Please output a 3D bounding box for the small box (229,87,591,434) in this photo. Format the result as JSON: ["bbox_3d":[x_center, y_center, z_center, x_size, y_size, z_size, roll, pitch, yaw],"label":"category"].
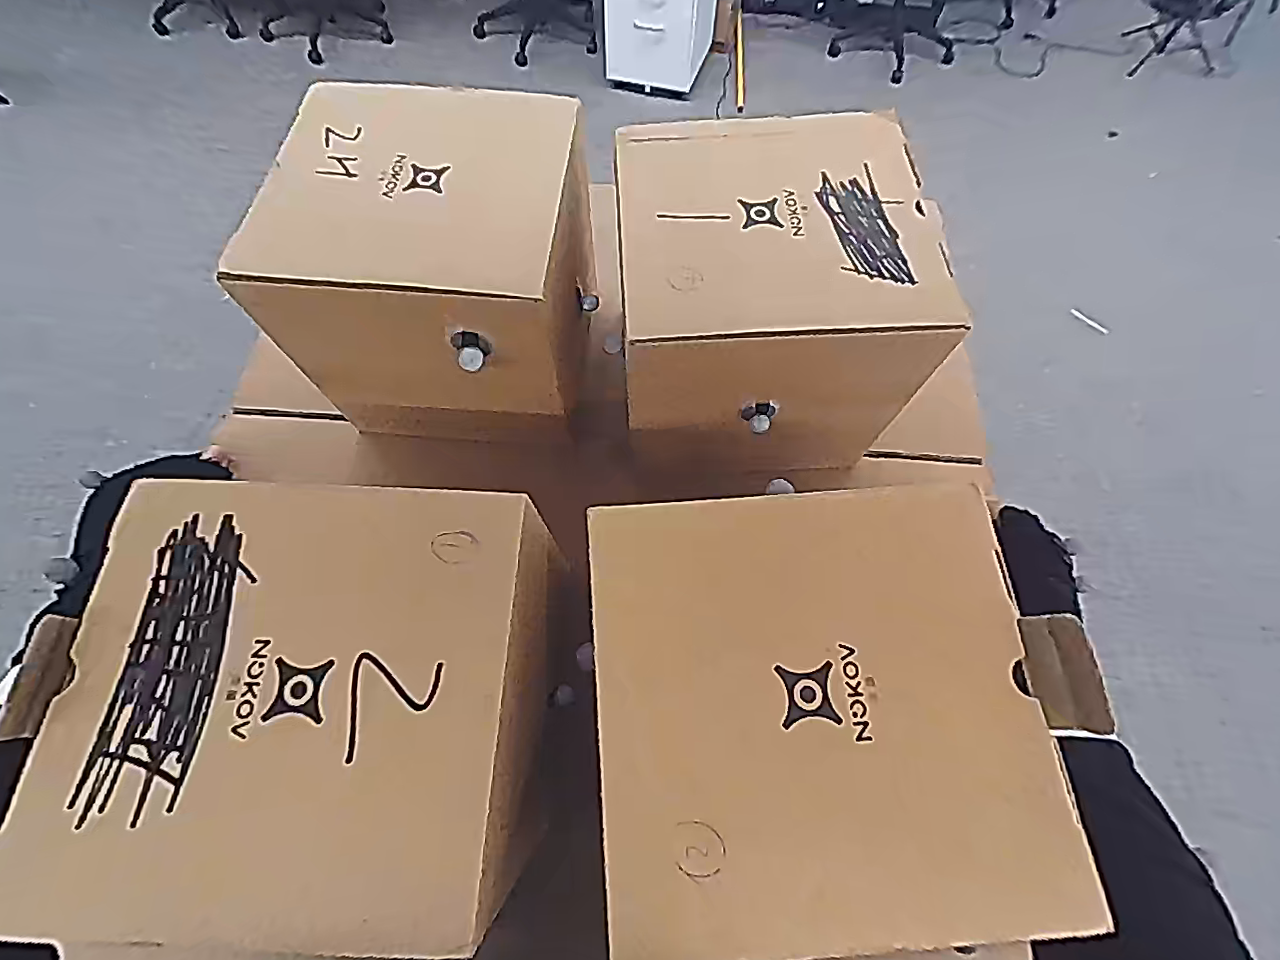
[{"bbox_3d":[-0.134,-0.147,0.400,0.179,0.176,0.168,5,66,2],"label":"small box"}]
